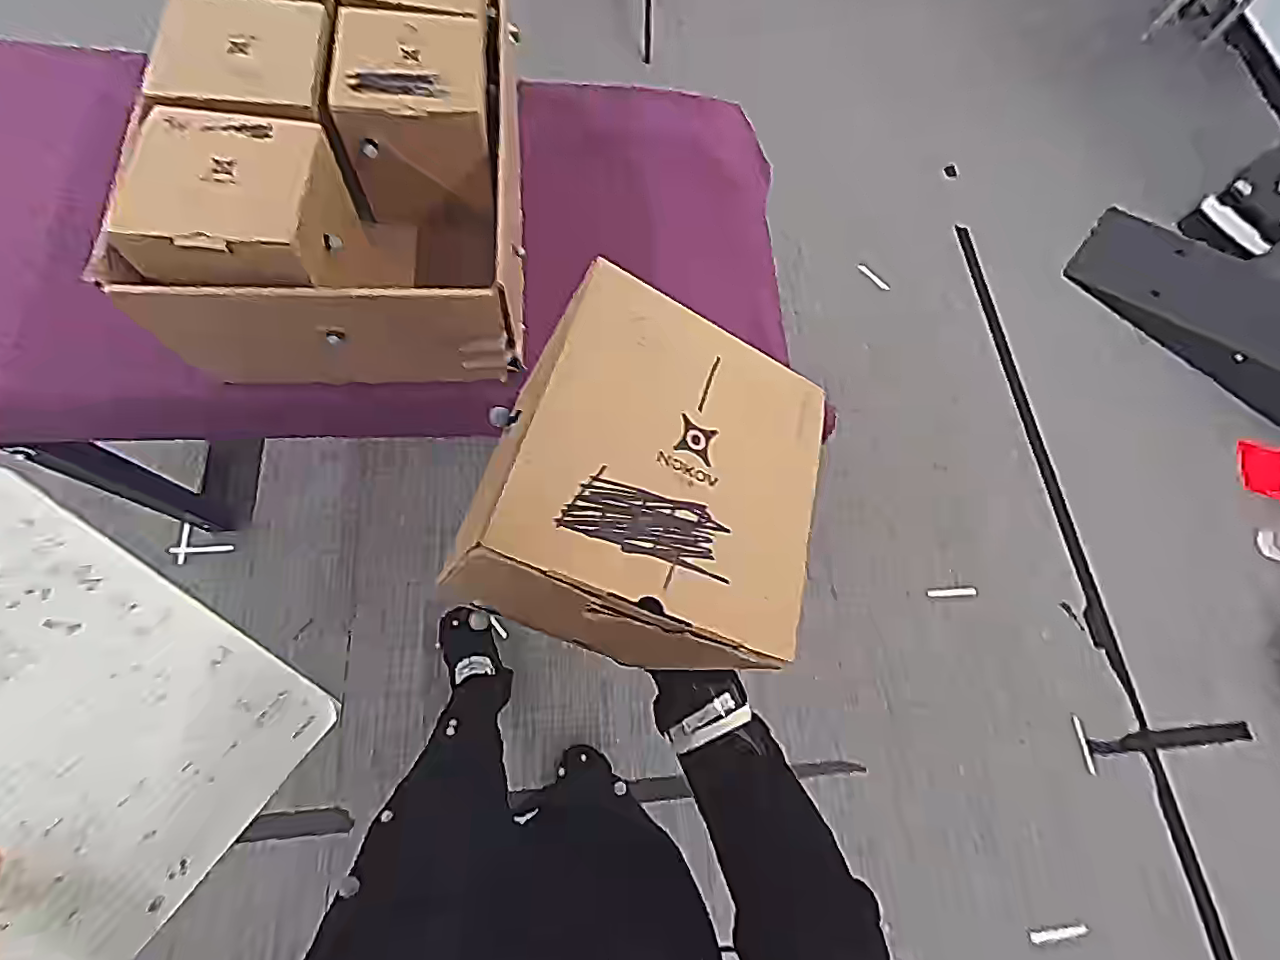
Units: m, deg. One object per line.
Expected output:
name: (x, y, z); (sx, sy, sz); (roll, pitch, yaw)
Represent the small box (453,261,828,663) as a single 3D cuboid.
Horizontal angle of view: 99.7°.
small box: (-0.008, 0.010, 0.350); (0.168, 0.176, 0.179); (25, 62, -17)
